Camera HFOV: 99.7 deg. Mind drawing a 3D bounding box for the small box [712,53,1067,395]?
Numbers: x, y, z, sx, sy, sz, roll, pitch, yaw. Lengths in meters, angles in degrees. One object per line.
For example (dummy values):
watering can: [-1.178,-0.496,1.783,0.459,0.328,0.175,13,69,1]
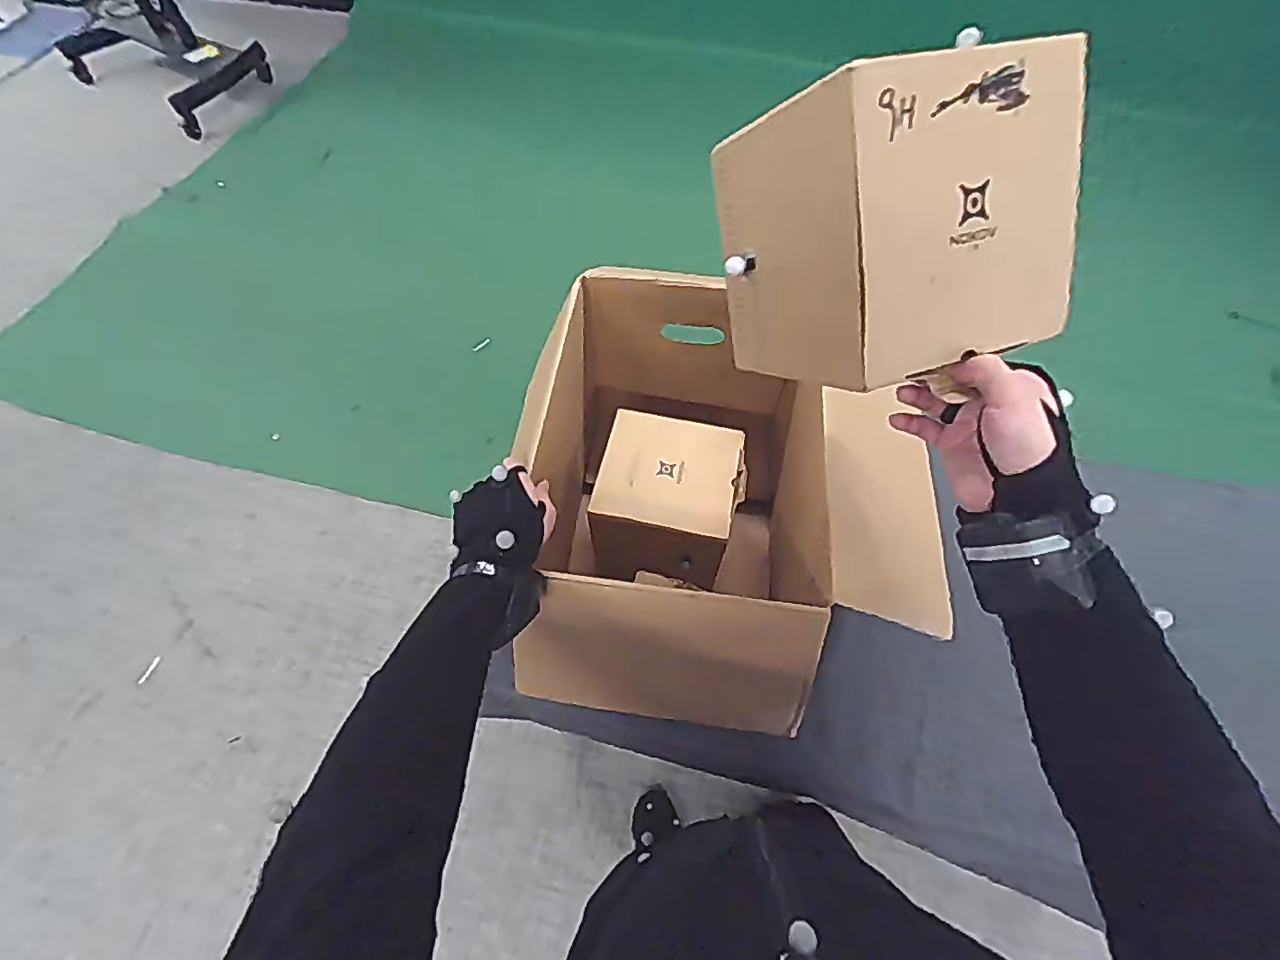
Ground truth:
small box: [0.170,-0.178,0.408,0.168,0.179,0.176,-17,20,-14]
